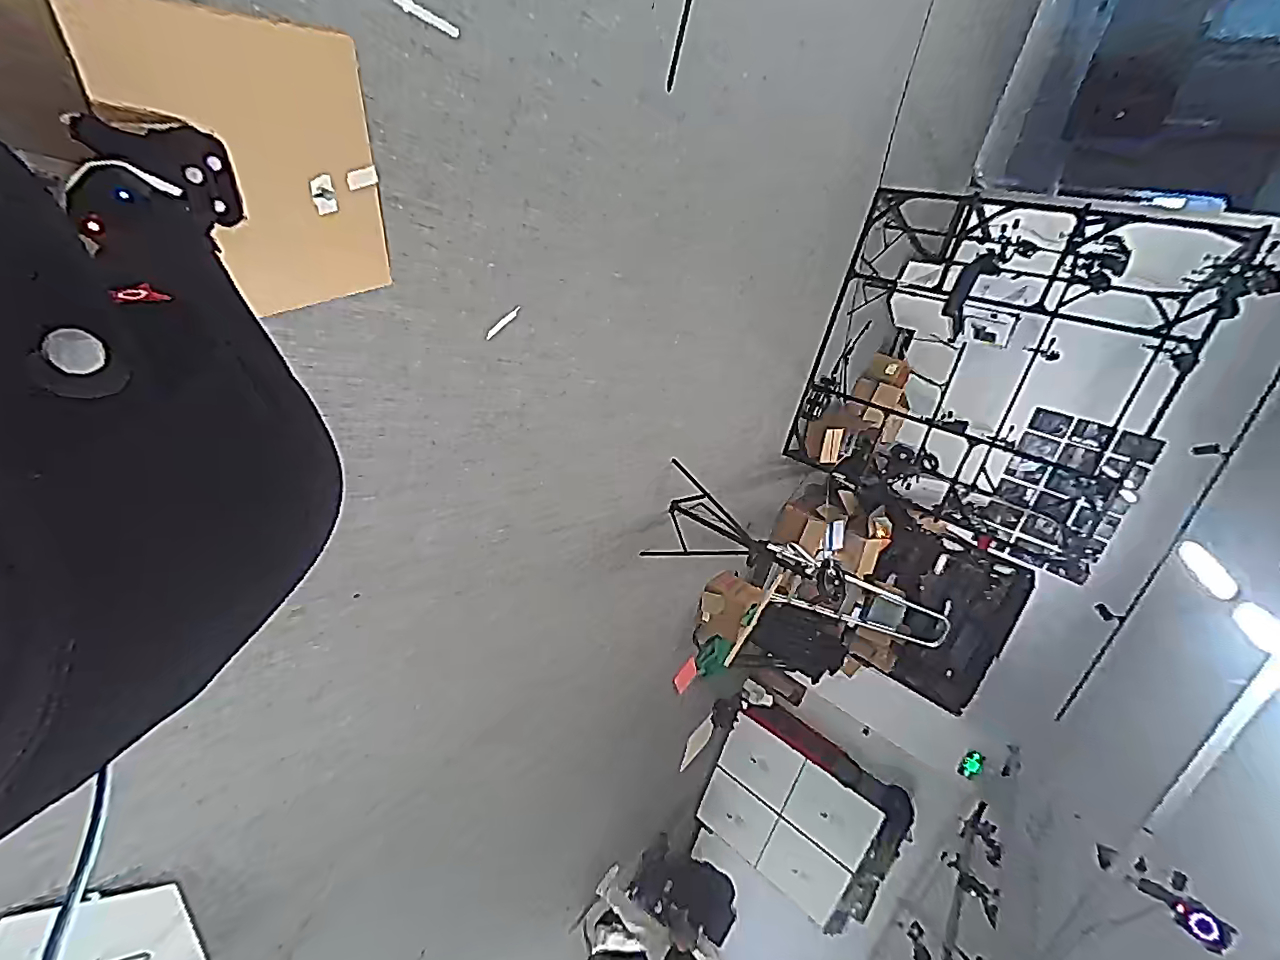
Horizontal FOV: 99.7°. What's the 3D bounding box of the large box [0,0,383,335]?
[{"bbox_3d":[-0.630,-0.424,0.720,0.320,0.408,0.320,-45,149,-50],"label":"large box"}]
